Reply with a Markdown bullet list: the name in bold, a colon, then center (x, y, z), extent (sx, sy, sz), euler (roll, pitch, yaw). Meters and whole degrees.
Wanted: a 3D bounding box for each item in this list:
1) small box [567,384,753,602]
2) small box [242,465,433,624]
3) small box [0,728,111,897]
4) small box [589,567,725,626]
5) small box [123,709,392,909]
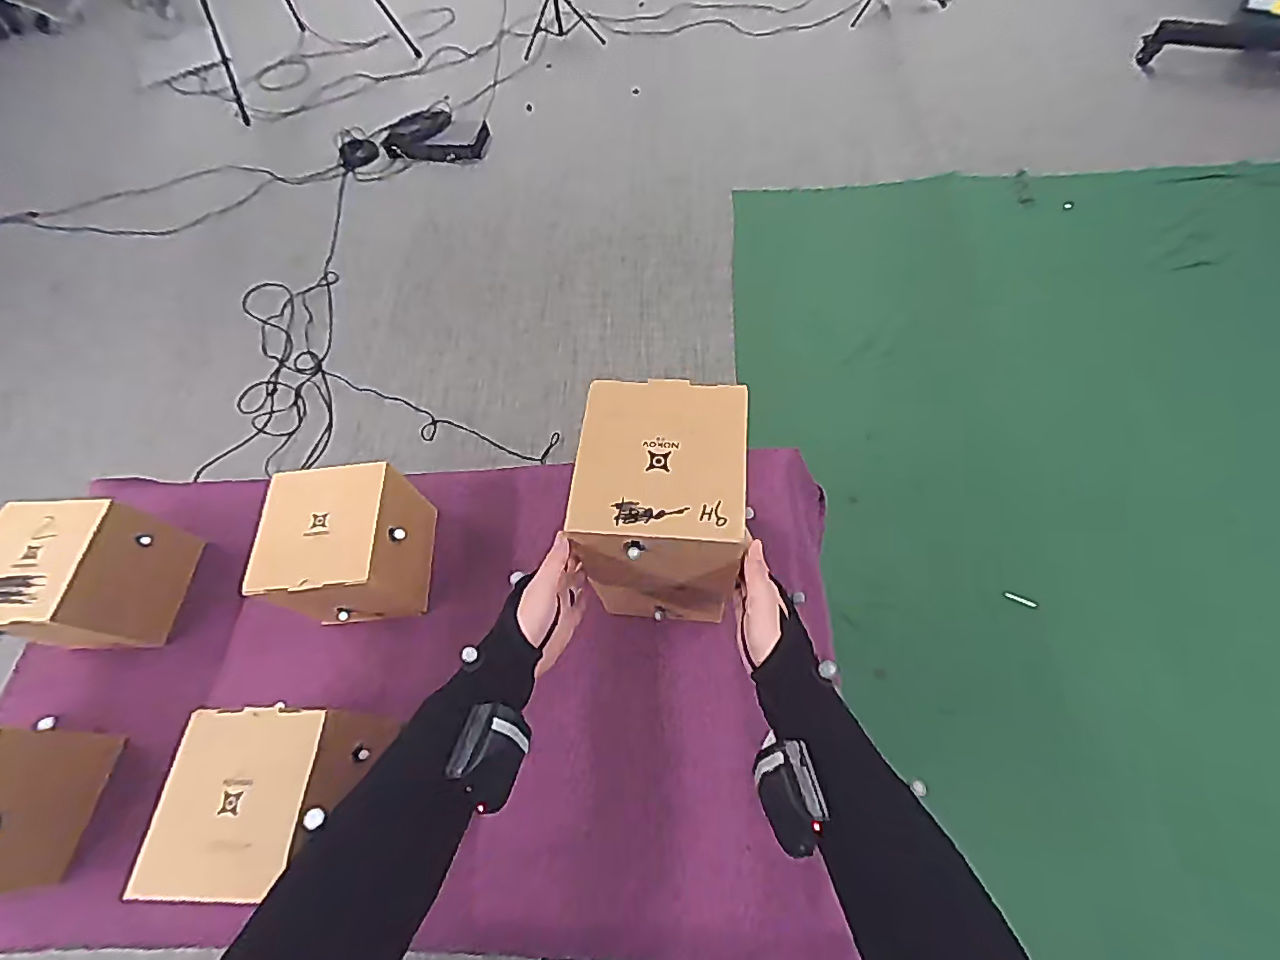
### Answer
- **small box**: center (0.030, 0.018, 0.591), extent (0.168, 0.176, 0.179), euler (3, 62, 8)
- **small box**: center (-0.415, 0.097, 0.779), extent (0.168, 0.176, 0.179), euler (-5, 63, 2)
- **small box**: center (-0.818, 0.398, 0.654), extent (0.168, 0.176, 0.179), euler (1, 61, 5)
- **small box**: center (0.036, 0.087, 0.740), extent (0.168, 0.176, 0.179), euler (3, 63, 8)
- **small box**: center (-0.419, 0.374, 0.634), extent (0.168, 0.176, 0.179), euler (-1, 62, 5)
